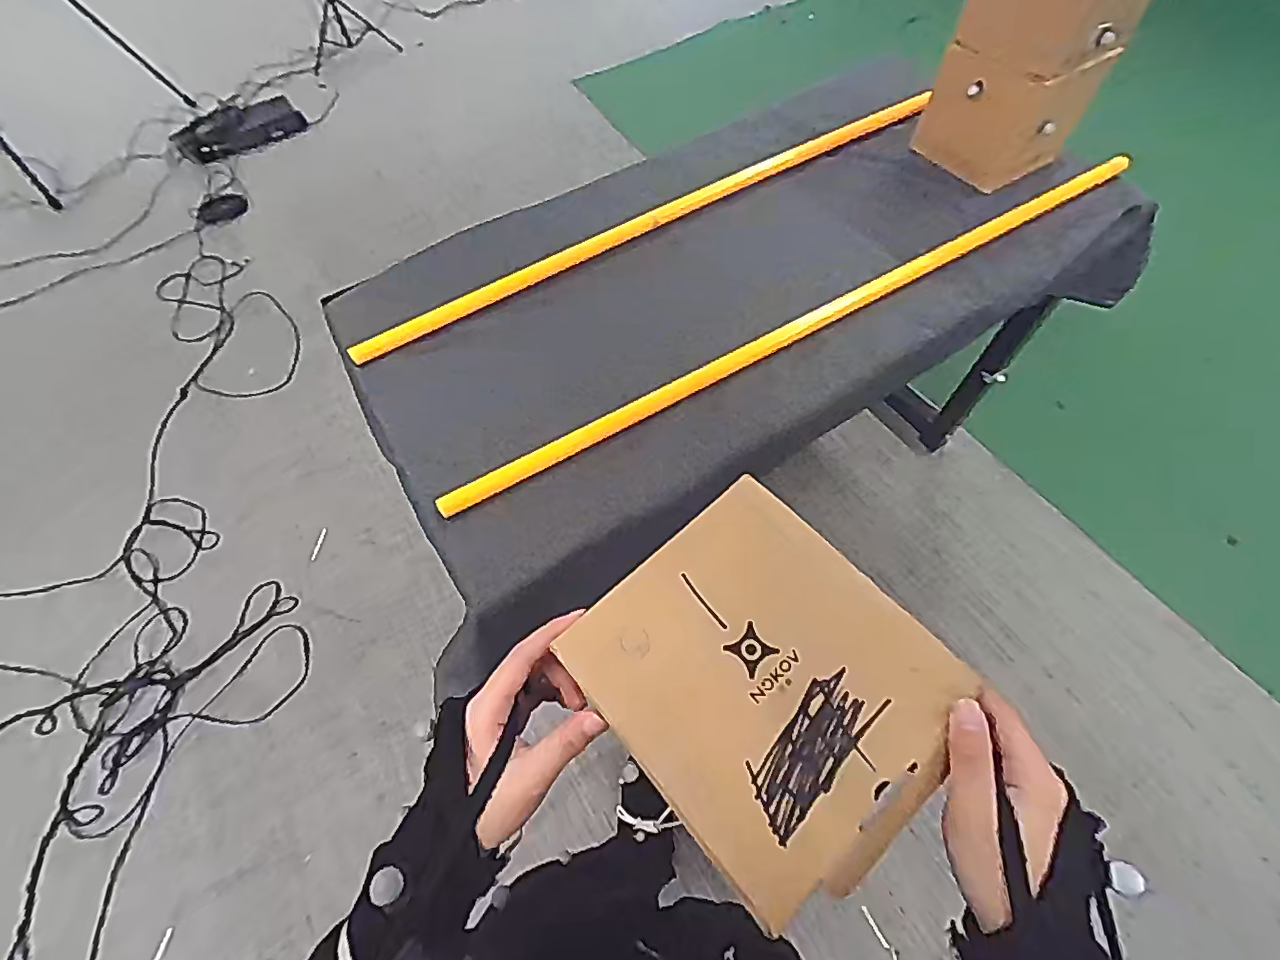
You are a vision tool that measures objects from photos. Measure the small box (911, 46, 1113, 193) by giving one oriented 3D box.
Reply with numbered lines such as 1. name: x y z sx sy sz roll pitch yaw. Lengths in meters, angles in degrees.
1. small box: 0.592 -0.604 0.888 0.168 0.176 0.179 -29 62 -12

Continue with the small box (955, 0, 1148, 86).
1. small box: 0.585 -0.688 0.749 0.168 0.176 0.179 -32 63 -12
